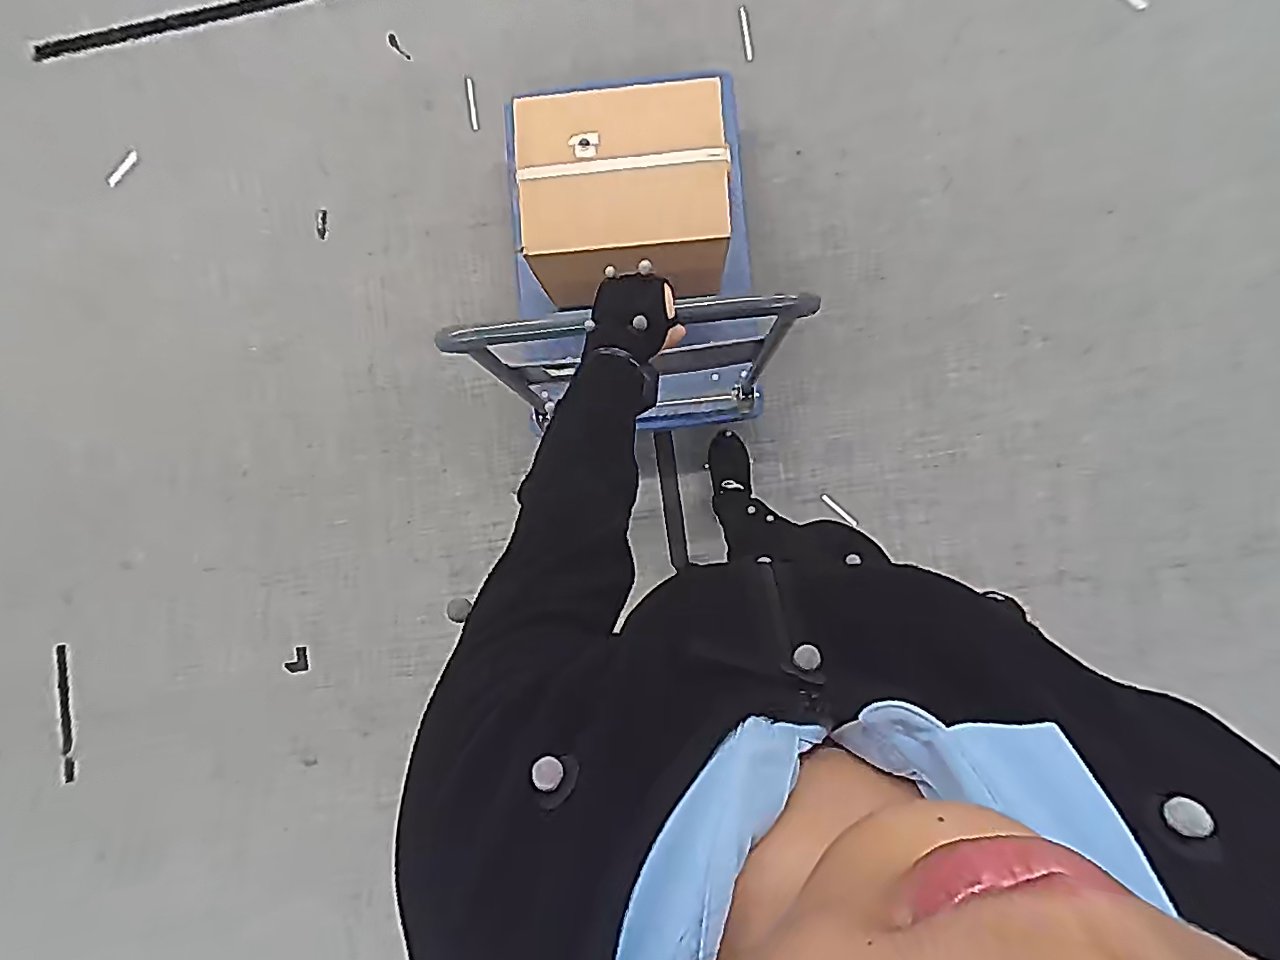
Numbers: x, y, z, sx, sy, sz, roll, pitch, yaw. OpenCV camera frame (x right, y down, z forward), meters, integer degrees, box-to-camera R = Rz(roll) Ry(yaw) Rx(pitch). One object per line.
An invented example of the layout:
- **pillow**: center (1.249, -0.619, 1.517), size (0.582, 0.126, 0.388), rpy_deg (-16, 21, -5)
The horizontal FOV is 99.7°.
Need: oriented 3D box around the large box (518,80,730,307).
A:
- **large box**: center (-0.022, -0.601, 1.201), size (0.408, 0.320, 0.320), rpy_deg (-4, 87, 5)
